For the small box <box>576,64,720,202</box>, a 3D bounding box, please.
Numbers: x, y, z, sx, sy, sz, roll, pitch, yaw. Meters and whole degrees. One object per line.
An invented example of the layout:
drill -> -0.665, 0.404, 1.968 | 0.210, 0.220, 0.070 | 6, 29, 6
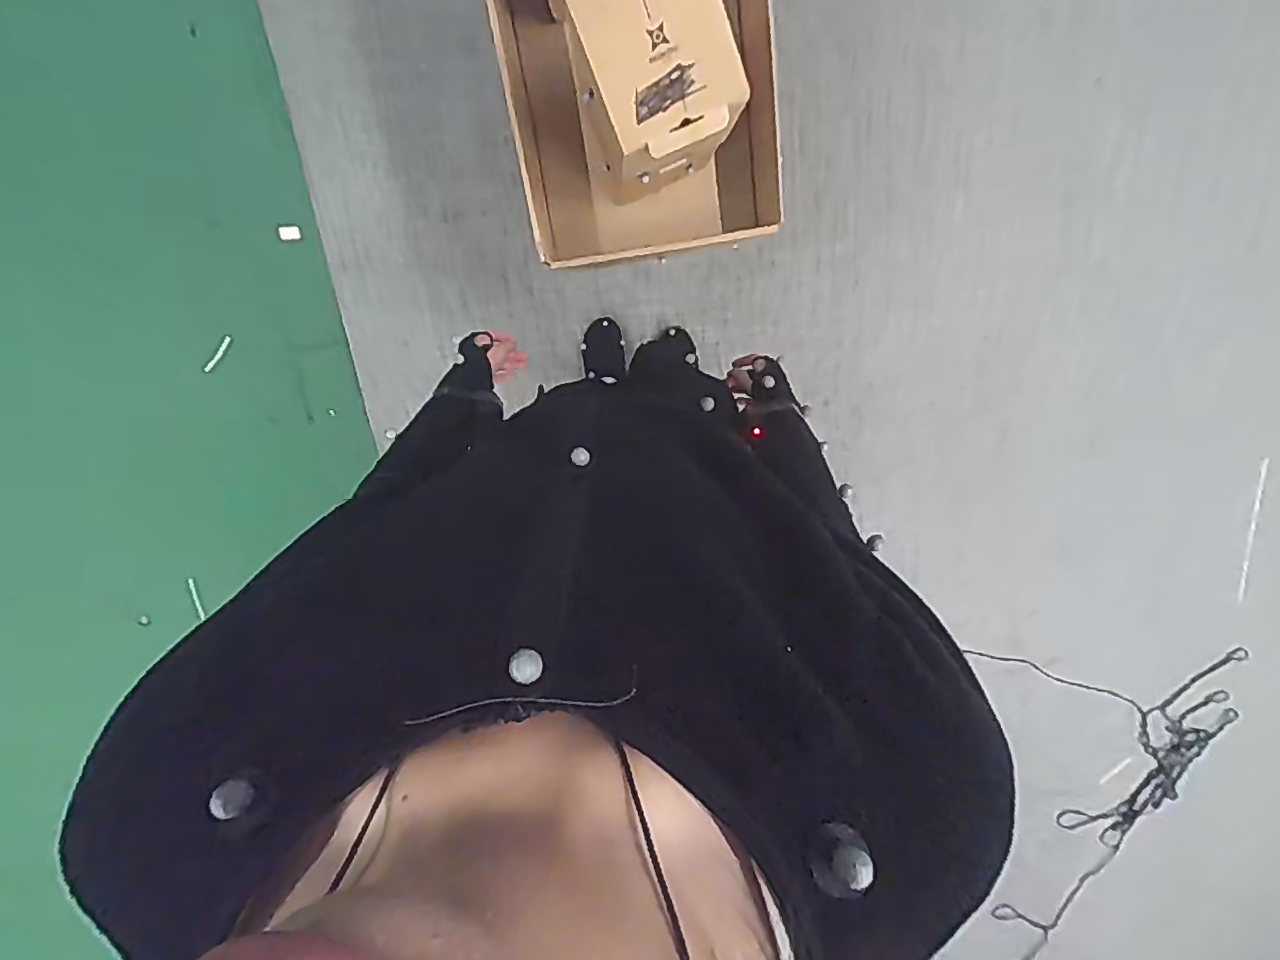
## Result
small box -> 0.013, -0.564, 0.857 | 0.168, 0.176, 0.179 | -22, 106, 4

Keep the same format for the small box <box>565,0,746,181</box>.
small box -> 0.019, -0.514, 0.700 | 0.168, 0.176, 0.179 | -22, 105, 4
